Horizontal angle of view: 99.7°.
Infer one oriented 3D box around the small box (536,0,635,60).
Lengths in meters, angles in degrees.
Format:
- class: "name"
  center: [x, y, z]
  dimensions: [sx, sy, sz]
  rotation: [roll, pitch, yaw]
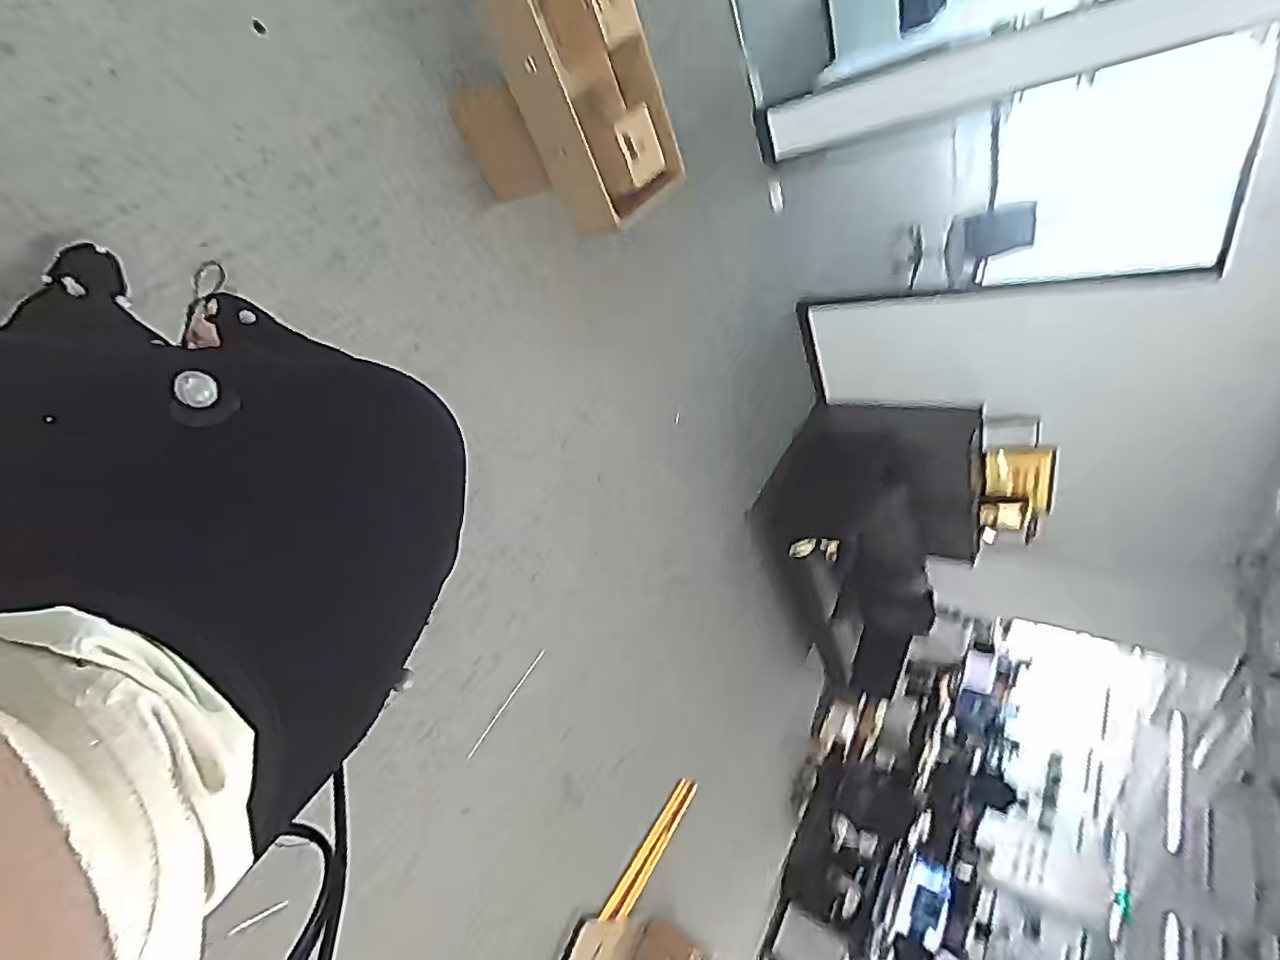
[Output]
- class: "small box"
  center: [-0.148, -1.258, 1.436]
  dimensions: [0.179, 0.176, 0.168]
  rotation: [-52, 133, -32]
